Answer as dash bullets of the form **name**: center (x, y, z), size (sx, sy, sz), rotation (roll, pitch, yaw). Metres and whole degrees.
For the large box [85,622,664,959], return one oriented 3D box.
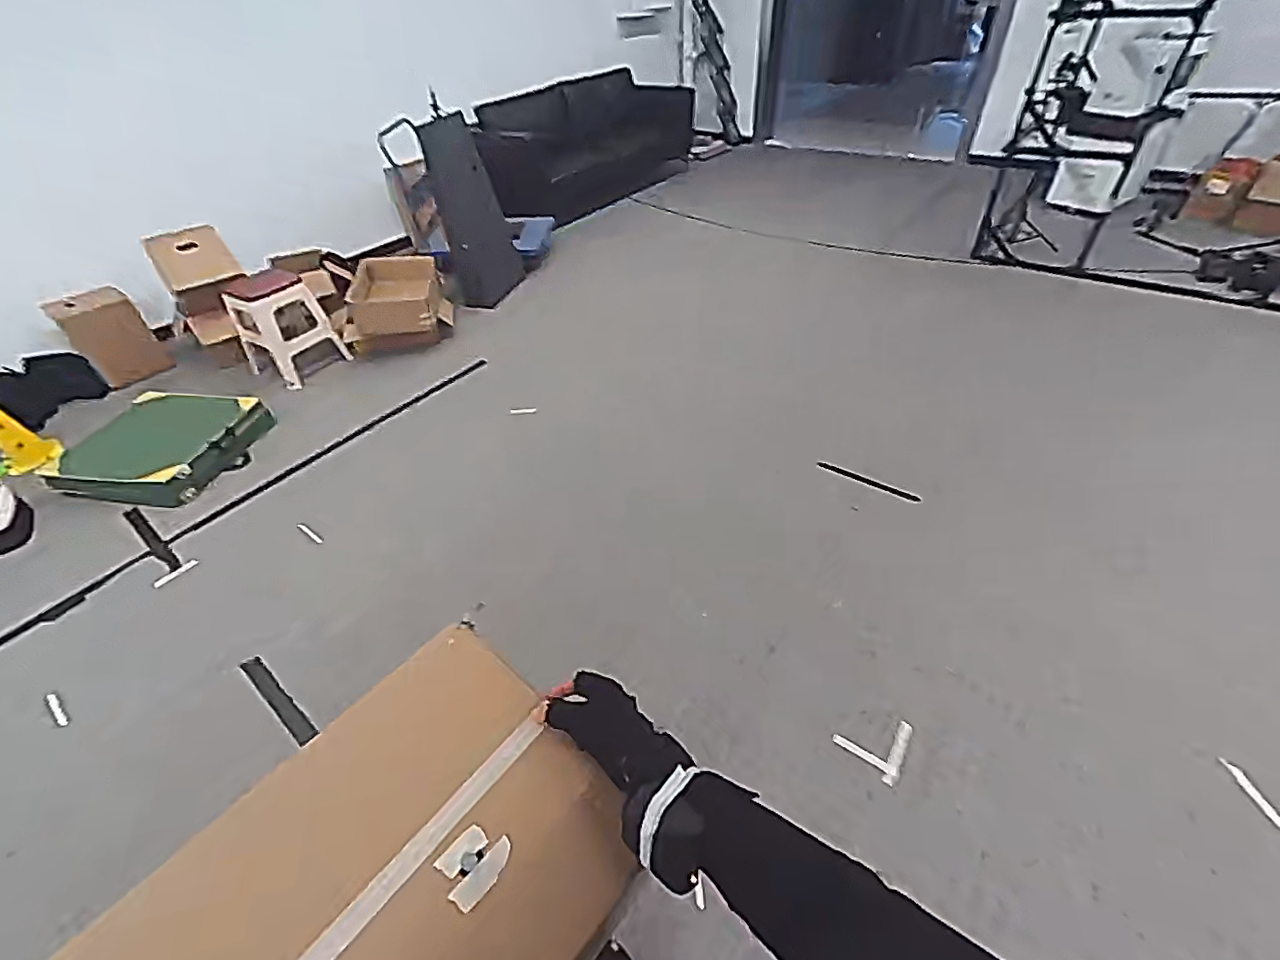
- **large box**: center (-0.219, 0.452, 0.590), size (0.320, 0.320, 0.408), rotation (34, 55, 25)
